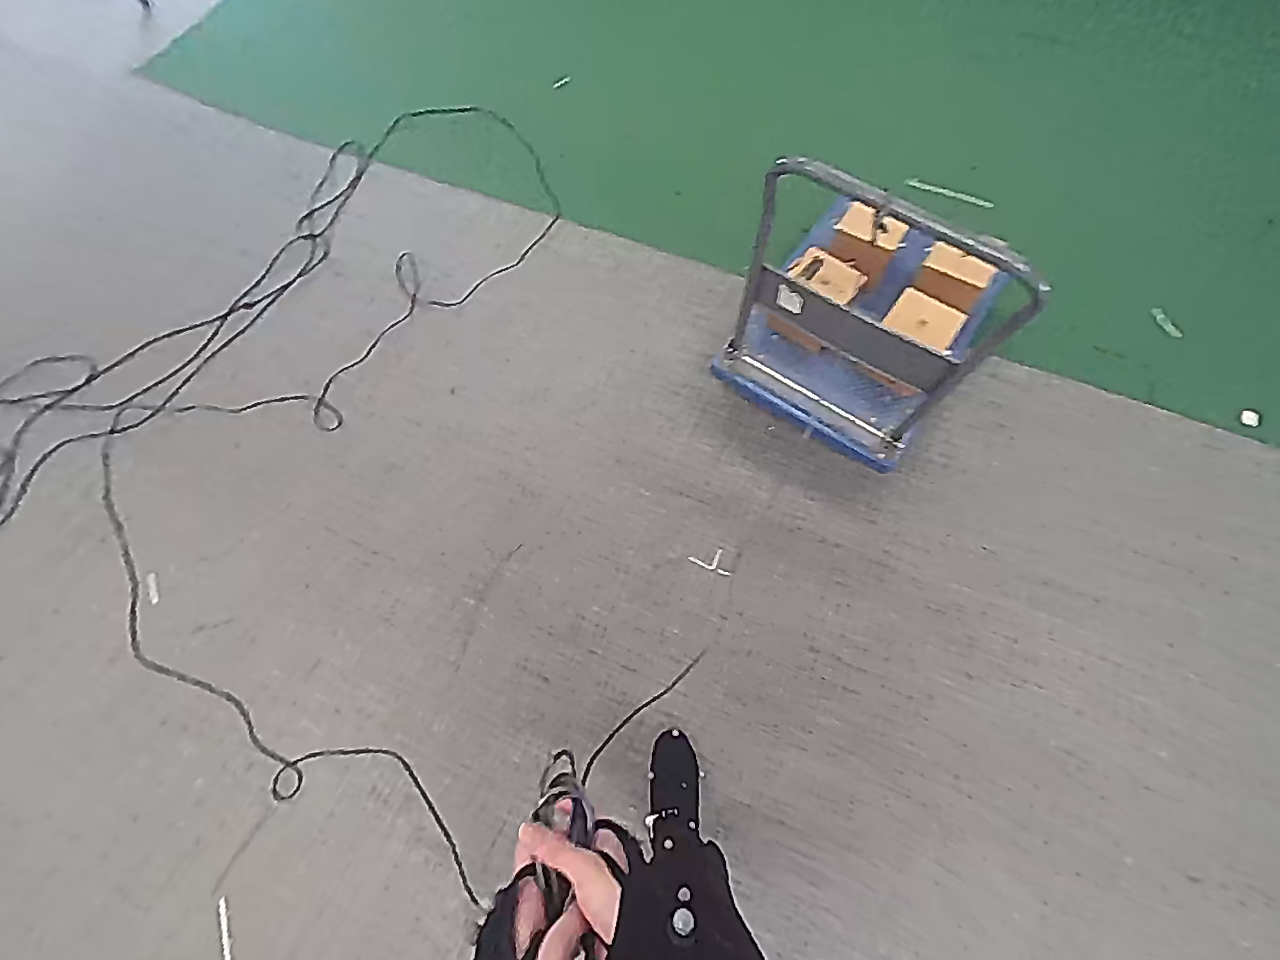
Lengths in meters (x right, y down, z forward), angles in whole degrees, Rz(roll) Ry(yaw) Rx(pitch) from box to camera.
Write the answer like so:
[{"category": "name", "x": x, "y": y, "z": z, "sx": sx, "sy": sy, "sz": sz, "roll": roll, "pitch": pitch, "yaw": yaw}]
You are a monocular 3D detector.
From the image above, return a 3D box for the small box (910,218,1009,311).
[{"category": "small box", "x": 0.876, "y": -0.583, "z": 1.511, "sx": 0.168, "sy": 0.176, "sz": 0.179, "roll": 29, "pitch": 74, "yaw": 13}]

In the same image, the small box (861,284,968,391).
[{"category": "small box", "x": 0.720, "y": -0.374, "z": 1.439, "sx": 0.168, "sy": 0.176, "sz": 0.179, "roll": 34, "pitch": 74, "yaw": 14}]

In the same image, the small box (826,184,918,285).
[{"category": "small box", "x": 0.662, "y": -0.703, "z": 1.566, "sx": 0.168, "sy": 0.176, "sz": 0.179, "roll": 30, "pitch": 73, "yaw": 12}]
